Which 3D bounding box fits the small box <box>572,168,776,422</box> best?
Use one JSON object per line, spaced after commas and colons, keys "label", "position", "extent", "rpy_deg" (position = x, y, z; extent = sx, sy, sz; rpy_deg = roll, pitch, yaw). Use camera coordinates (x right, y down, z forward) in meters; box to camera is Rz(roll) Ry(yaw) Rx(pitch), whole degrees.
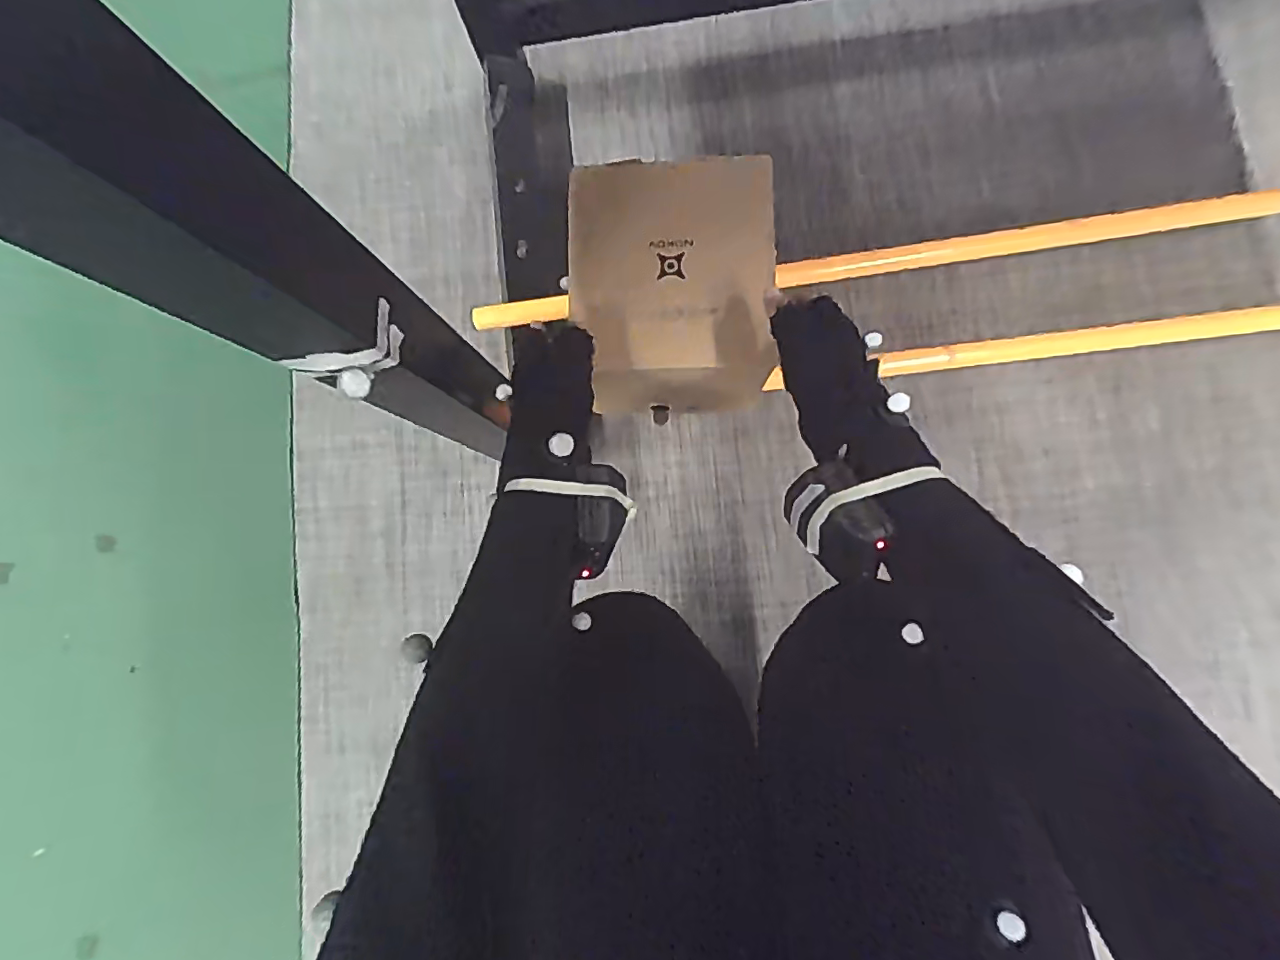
{"label": "small box", "position": [0.031, -0.161, 0.519], "extent": [0.168, 0.176, 0.179], "rpy_deg": [-2, 84, 4]}
